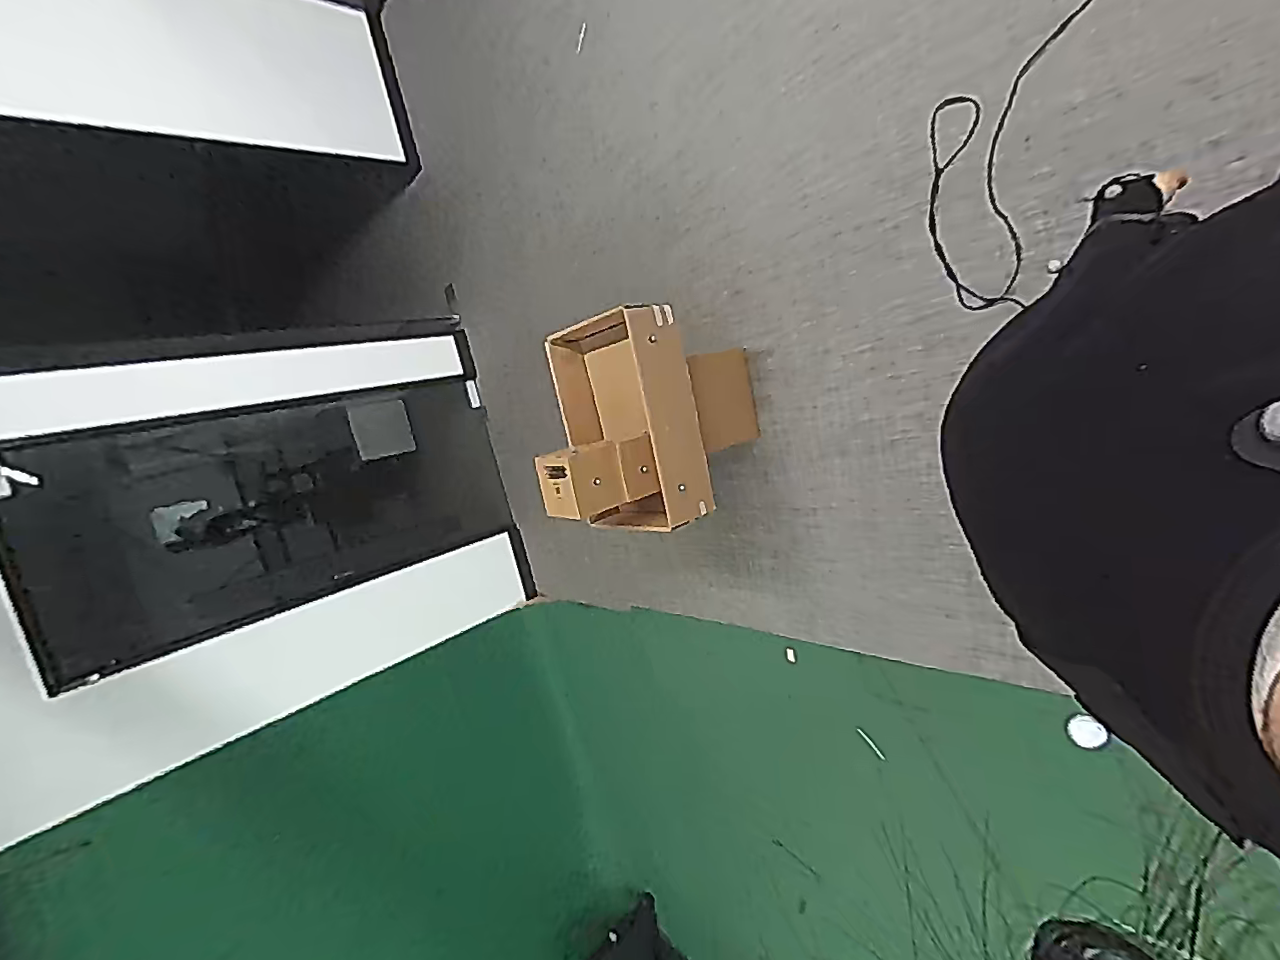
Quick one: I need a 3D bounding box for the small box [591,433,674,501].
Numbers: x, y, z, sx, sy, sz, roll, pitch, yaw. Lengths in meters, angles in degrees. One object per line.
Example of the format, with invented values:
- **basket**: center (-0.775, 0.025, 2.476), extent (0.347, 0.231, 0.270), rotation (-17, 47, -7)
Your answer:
- **small box**: center (-0.020, -0.042, 1.624), extent (0.168, 0.176, 0.179), rotation (-1, 104, 49)
